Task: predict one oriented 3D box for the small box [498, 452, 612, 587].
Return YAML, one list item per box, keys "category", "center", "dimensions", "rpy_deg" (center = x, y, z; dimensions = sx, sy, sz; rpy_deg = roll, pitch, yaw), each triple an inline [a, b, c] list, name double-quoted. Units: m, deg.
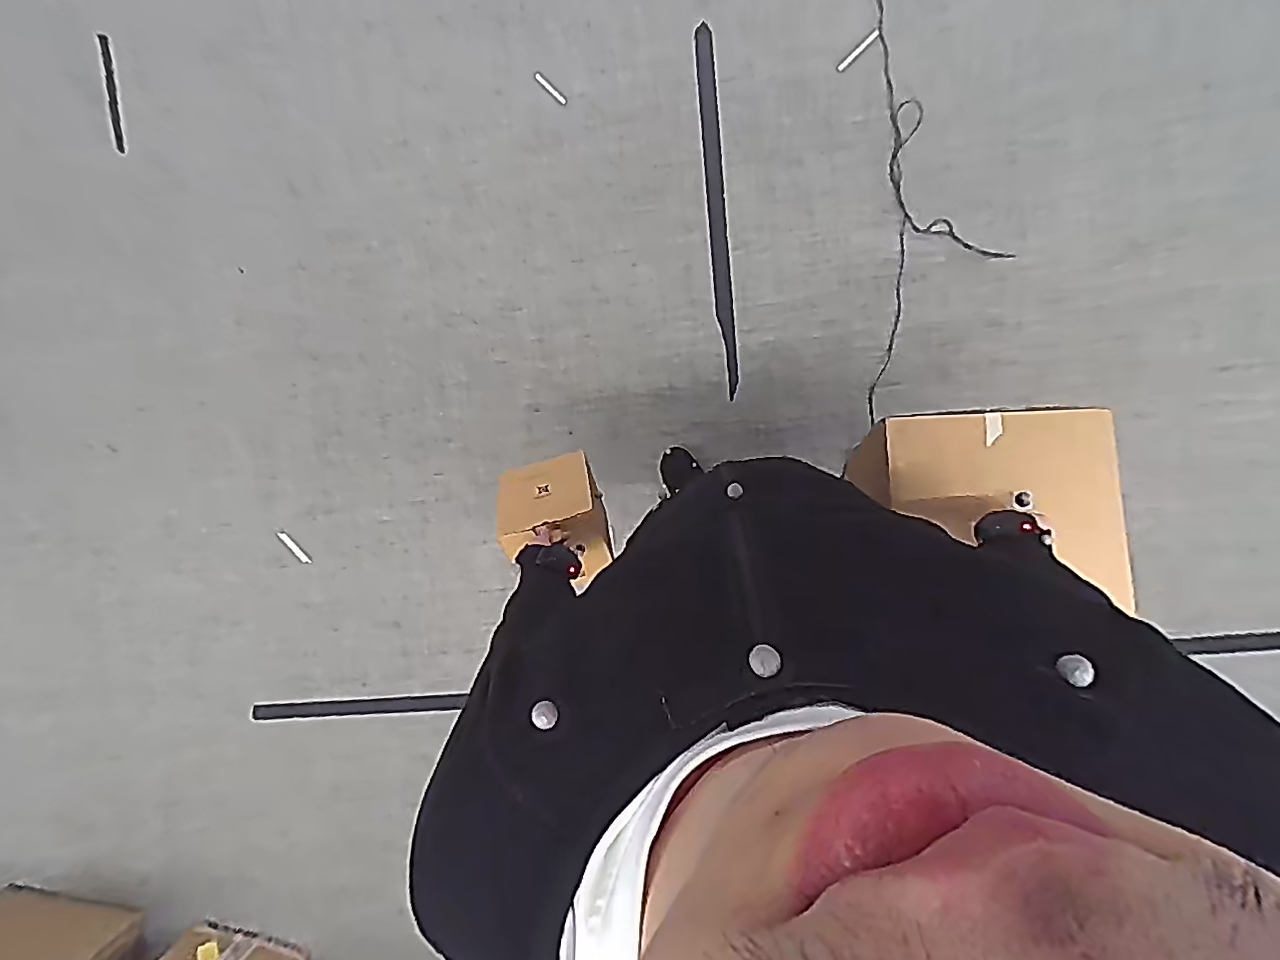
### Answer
- category: "small box"
  center: [-0.156, 0.081, 1.014]
  dimensions: [0.168, 0.179, 0.176]
  rpy_deg: [-15, 129, -1]
